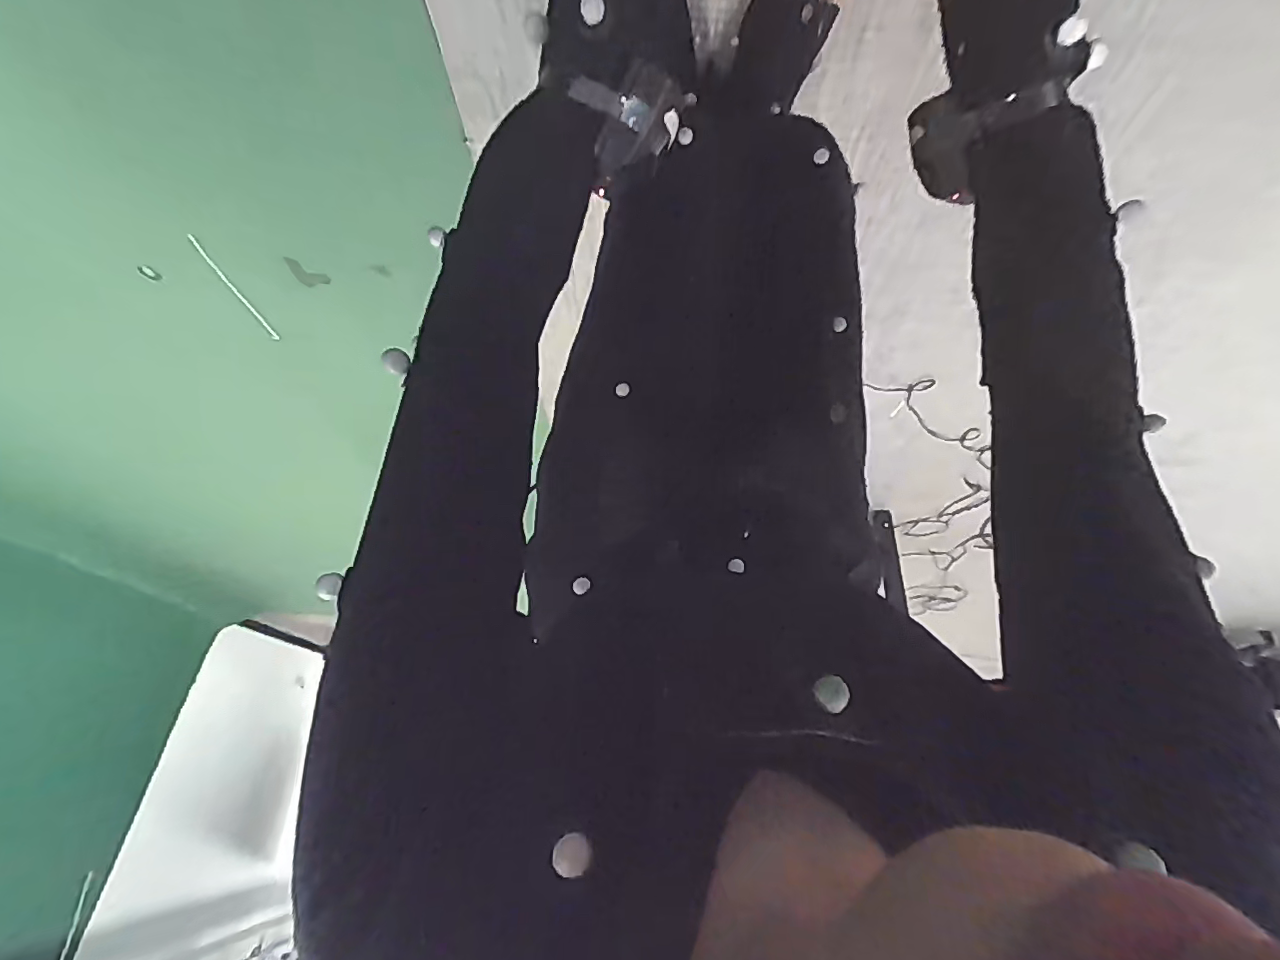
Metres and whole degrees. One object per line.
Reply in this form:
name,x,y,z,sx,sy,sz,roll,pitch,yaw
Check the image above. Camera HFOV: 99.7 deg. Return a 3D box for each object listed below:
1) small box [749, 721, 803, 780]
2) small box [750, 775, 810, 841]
small box,0.461,0.929,1.853,0.168,0.176,0.179,0,151,10
small box,0.446,1.056,1.750,0.168,0.176,0.179,2,151,8
